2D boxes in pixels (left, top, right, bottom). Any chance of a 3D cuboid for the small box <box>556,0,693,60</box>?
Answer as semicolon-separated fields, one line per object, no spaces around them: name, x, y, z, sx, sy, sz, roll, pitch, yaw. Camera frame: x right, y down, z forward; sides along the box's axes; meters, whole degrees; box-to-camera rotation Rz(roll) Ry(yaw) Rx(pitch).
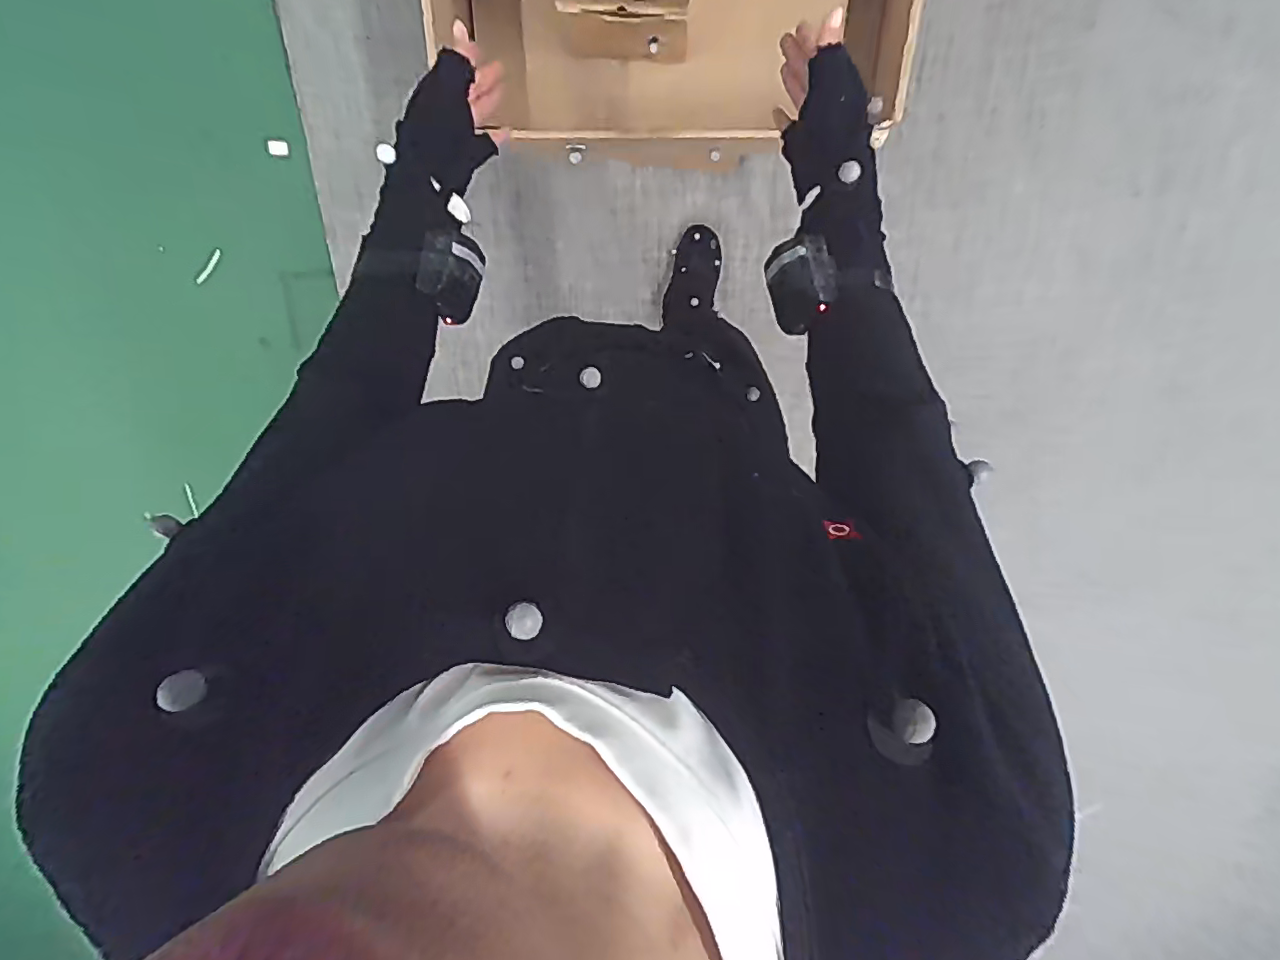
small box;-0.010;-0.675;0.698;0.168;0.176;0.179;4;111;1
